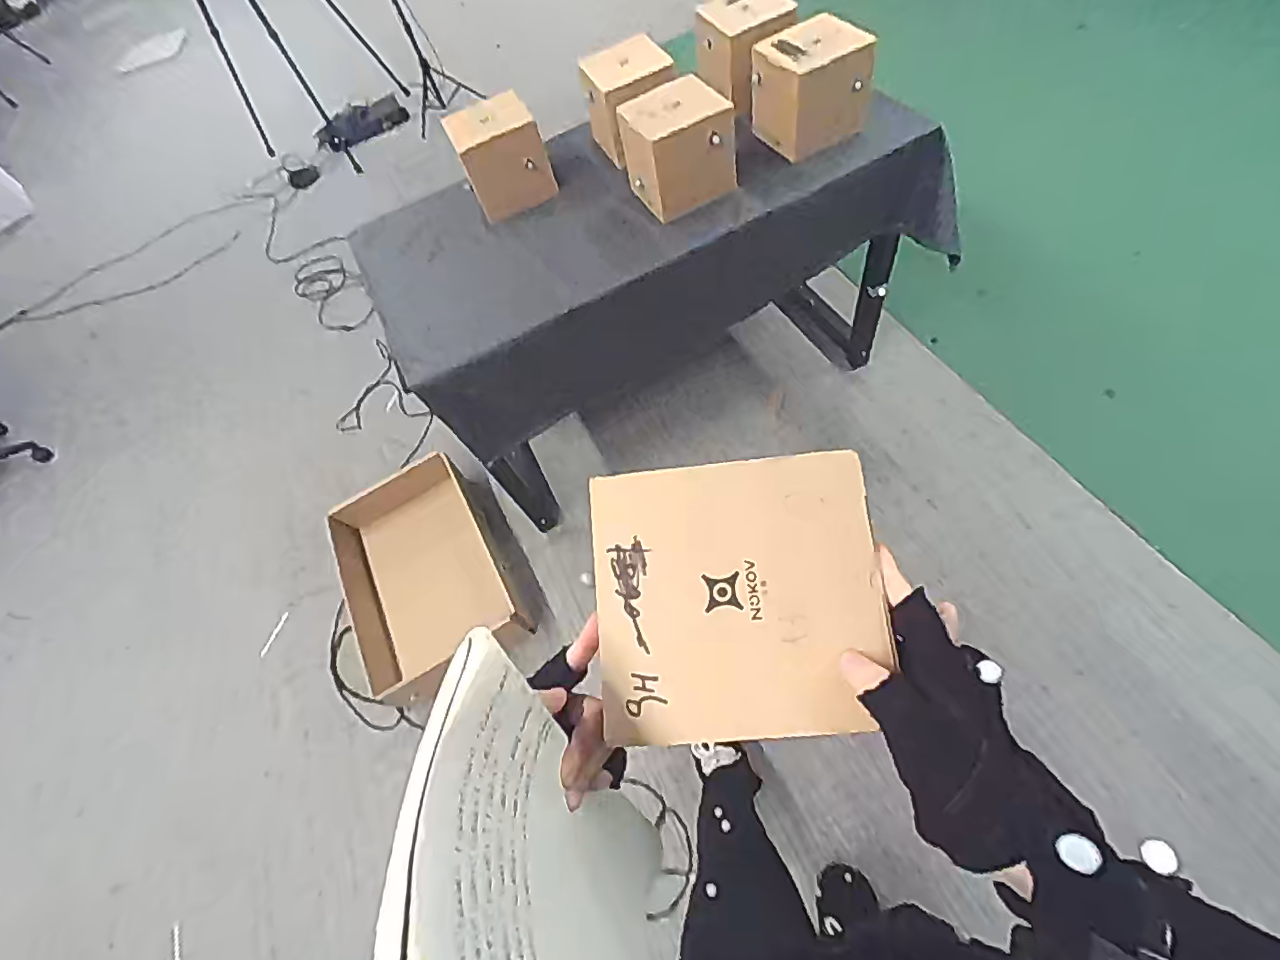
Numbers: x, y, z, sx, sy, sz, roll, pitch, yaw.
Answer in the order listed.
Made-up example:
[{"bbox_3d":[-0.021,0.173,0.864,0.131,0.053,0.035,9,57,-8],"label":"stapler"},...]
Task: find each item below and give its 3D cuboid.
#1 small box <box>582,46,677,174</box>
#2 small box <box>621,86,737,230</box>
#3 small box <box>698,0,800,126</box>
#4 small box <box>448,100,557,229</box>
[{"bbox_3d":[-0.011,-0.836,1.236,0.168,0.176,0.179,-25,58,-3],"label":"small box"},{"bbox_3d":[0.085,-0.652,1.105,0.179,0.176,0.168,-27,57,-4],"label":"small box"},{"bbox_3d":[0.248,-0.964,1.251,0.168,0.176,0.179,-25,59,-3],"label":"small box"},{"bbox_3d":[-0.300,-0.706,1.219,0.179,0.176,0.168,-25,58,-4],"label":"small box"}]
